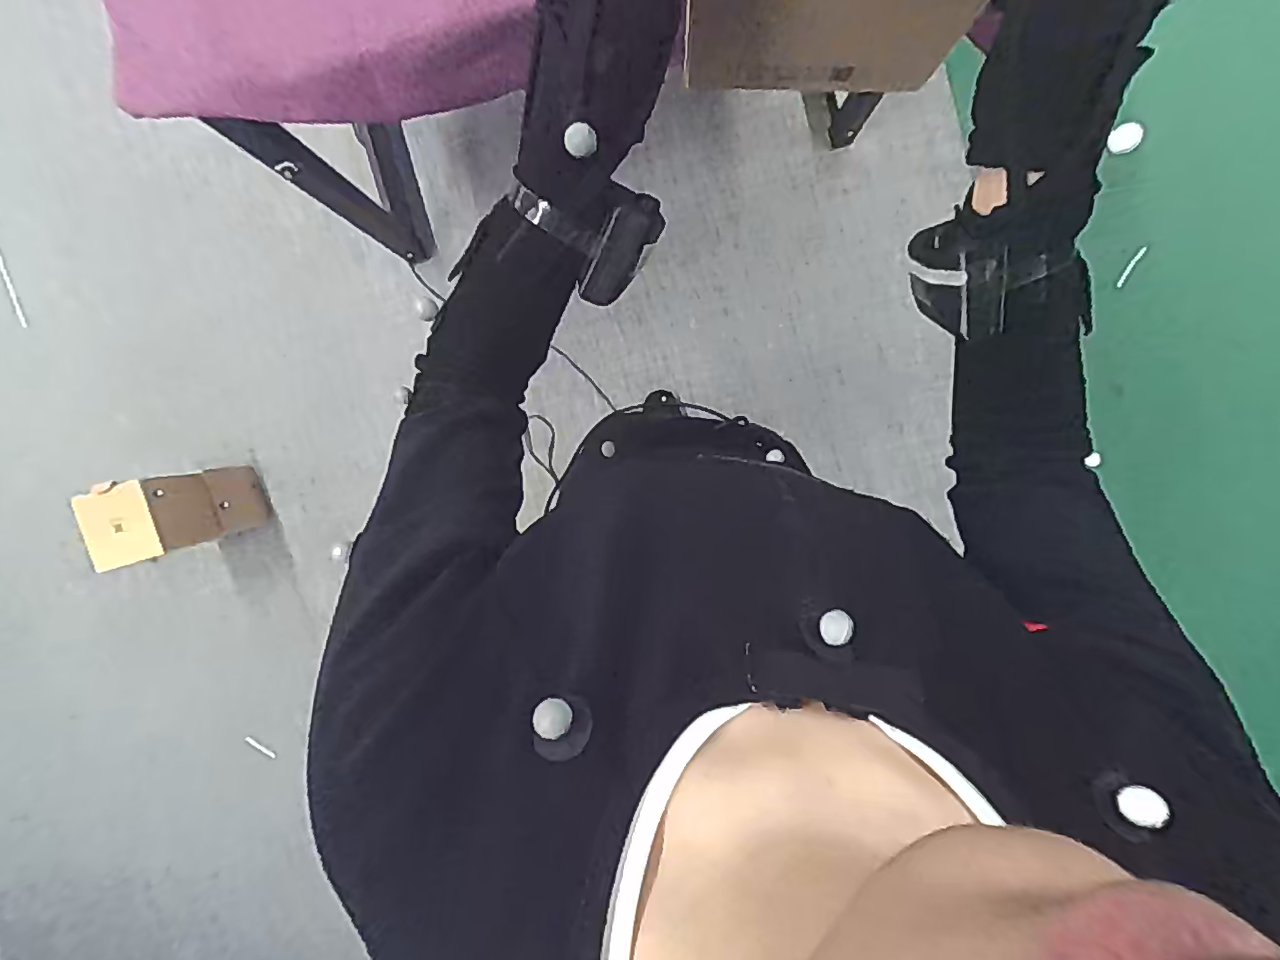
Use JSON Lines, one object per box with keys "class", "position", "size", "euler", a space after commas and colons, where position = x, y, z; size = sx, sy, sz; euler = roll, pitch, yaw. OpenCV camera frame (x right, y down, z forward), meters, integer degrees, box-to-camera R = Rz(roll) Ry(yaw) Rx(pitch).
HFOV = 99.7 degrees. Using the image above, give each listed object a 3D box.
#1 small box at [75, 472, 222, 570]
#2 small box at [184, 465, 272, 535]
{"class": "small box", "position": [-1.129, 0.088, 1.258], "size": [0.168, 0.176, 0.179], "euler": [-16, 93, 3]}
{"class": "small box", "position": [-1.125, 0.062, 1.420], "size": [0.179, 0.176, 0.168], "euler": [-16, 94, 3]}
